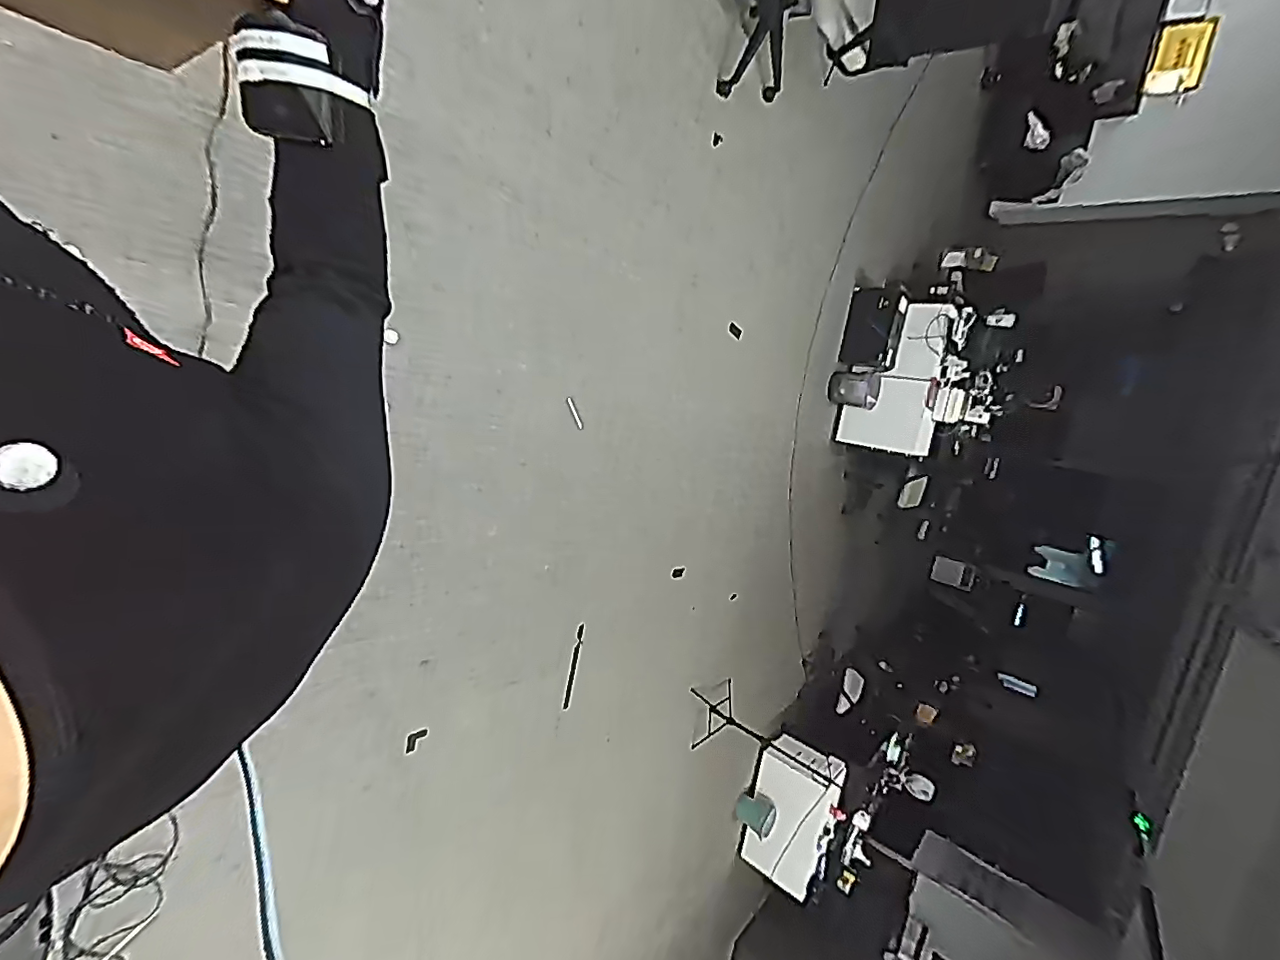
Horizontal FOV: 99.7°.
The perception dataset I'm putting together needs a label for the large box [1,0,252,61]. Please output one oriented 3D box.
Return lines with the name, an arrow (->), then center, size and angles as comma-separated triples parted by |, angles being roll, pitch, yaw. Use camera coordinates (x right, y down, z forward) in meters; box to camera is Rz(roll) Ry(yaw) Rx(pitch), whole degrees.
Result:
large box -> -0.435, -0.480, 0.239 | 0.408, 0.320, 0.320 | -6, 113, -51
